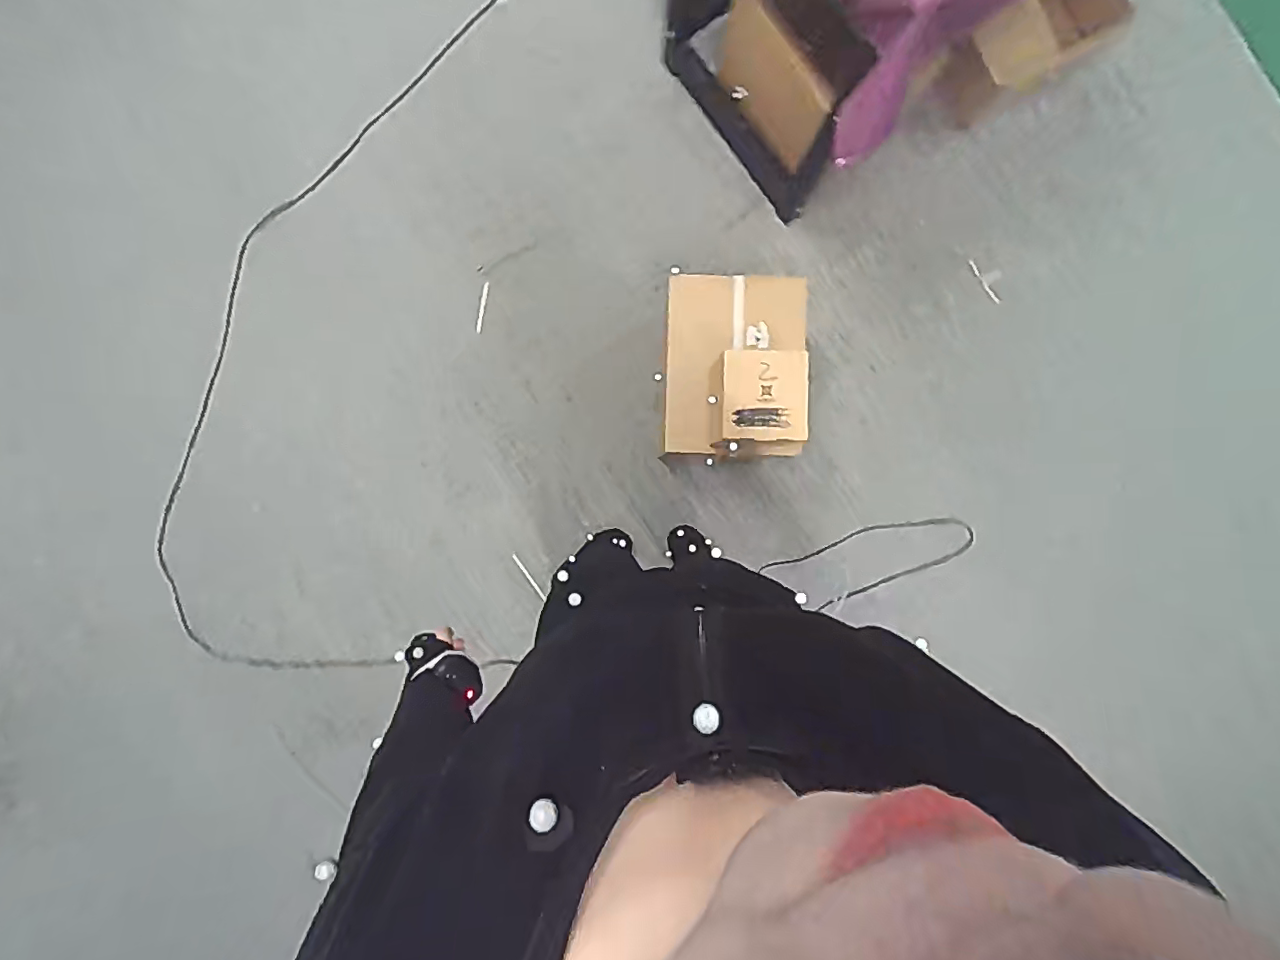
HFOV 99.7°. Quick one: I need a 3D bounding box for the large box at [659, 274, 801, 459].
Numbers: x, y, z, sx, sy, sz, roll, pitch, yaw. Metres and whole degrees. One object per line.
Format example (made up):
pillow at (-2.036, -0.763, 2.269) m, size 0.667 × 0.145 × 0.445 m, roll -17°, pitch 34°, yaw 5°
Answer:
large box at (0.206, -0.261, 1.359) m, size 0.320 × 0.320 × 0.408 m, roll 1°, pitch 90°, yaw -2°
